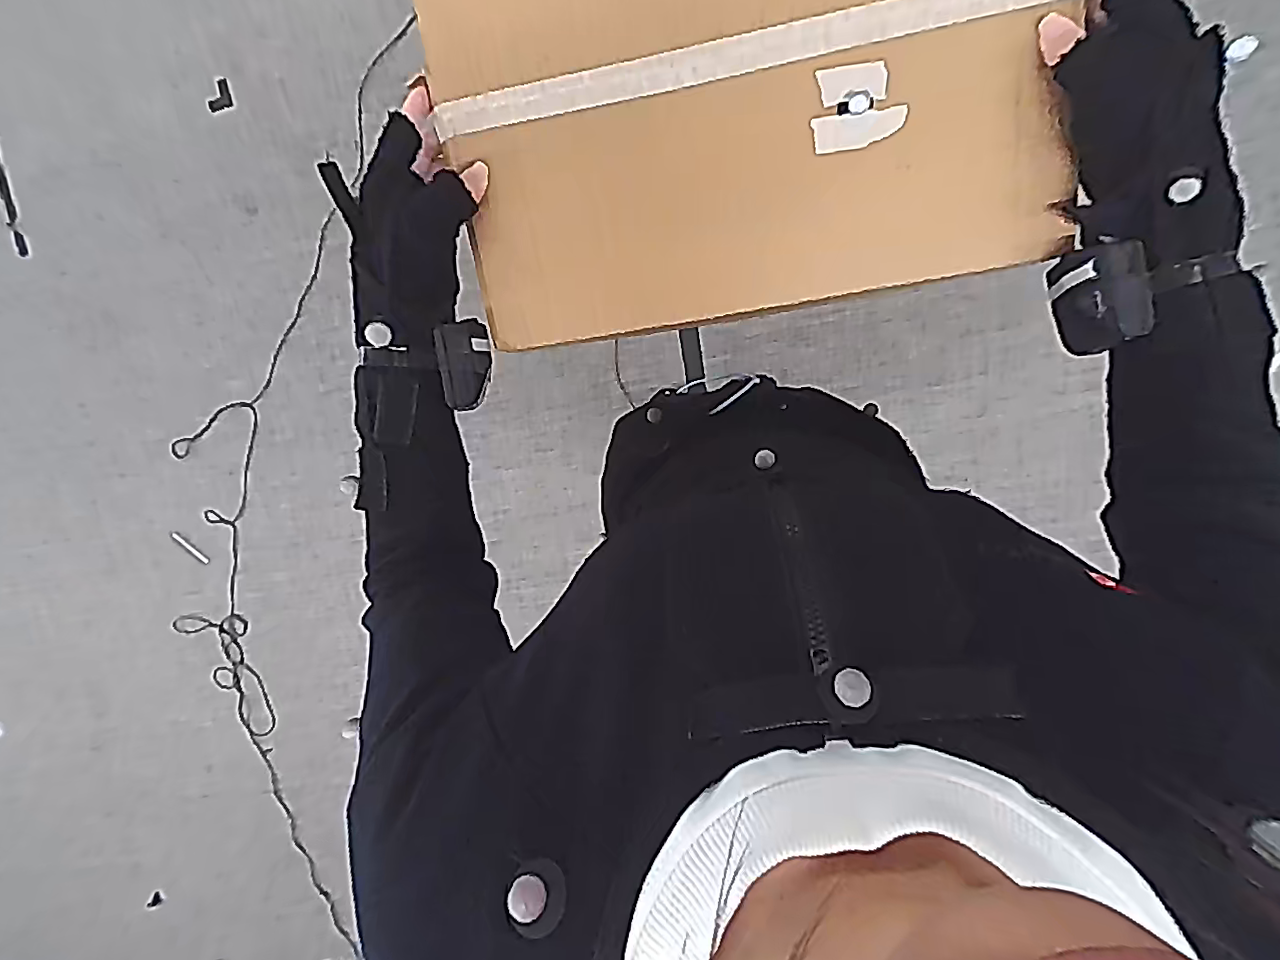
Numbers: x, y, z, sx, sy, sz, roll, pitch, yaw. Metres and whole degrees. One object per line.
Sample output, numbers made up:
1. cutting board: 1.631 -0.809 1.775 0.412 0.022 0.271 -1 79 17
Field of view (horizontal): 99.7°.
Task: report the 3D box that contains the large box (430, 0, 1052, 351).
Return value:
1. large box: 0.074 -0.313 0.508 0.408 0.320 0.320 -8 104 6
